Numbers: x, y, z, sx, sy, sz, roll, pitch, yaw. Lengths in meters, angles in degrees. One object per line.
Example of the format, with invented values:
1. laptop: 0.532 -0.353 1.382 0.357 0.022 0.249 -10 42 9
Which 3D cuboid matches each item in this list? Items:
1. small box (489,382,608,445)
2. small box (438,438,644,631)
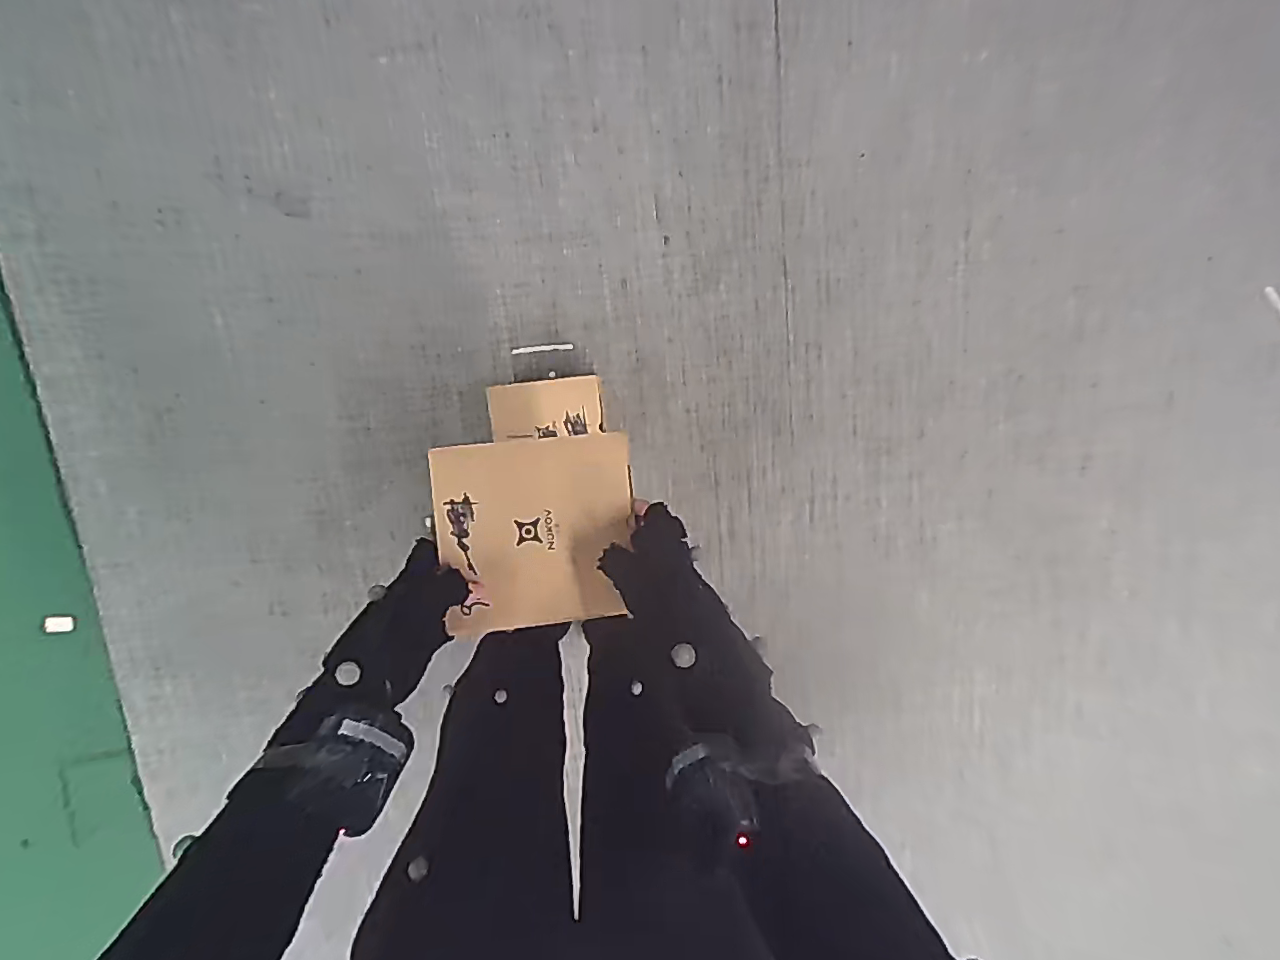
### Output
1. small box: -0.144 -0.079 0.927 0.179 0.176 0.168 -6 100 -1
2. small box: -0.099 0.047 0.567 0.179 0.176 0.168 -5 90 -8
